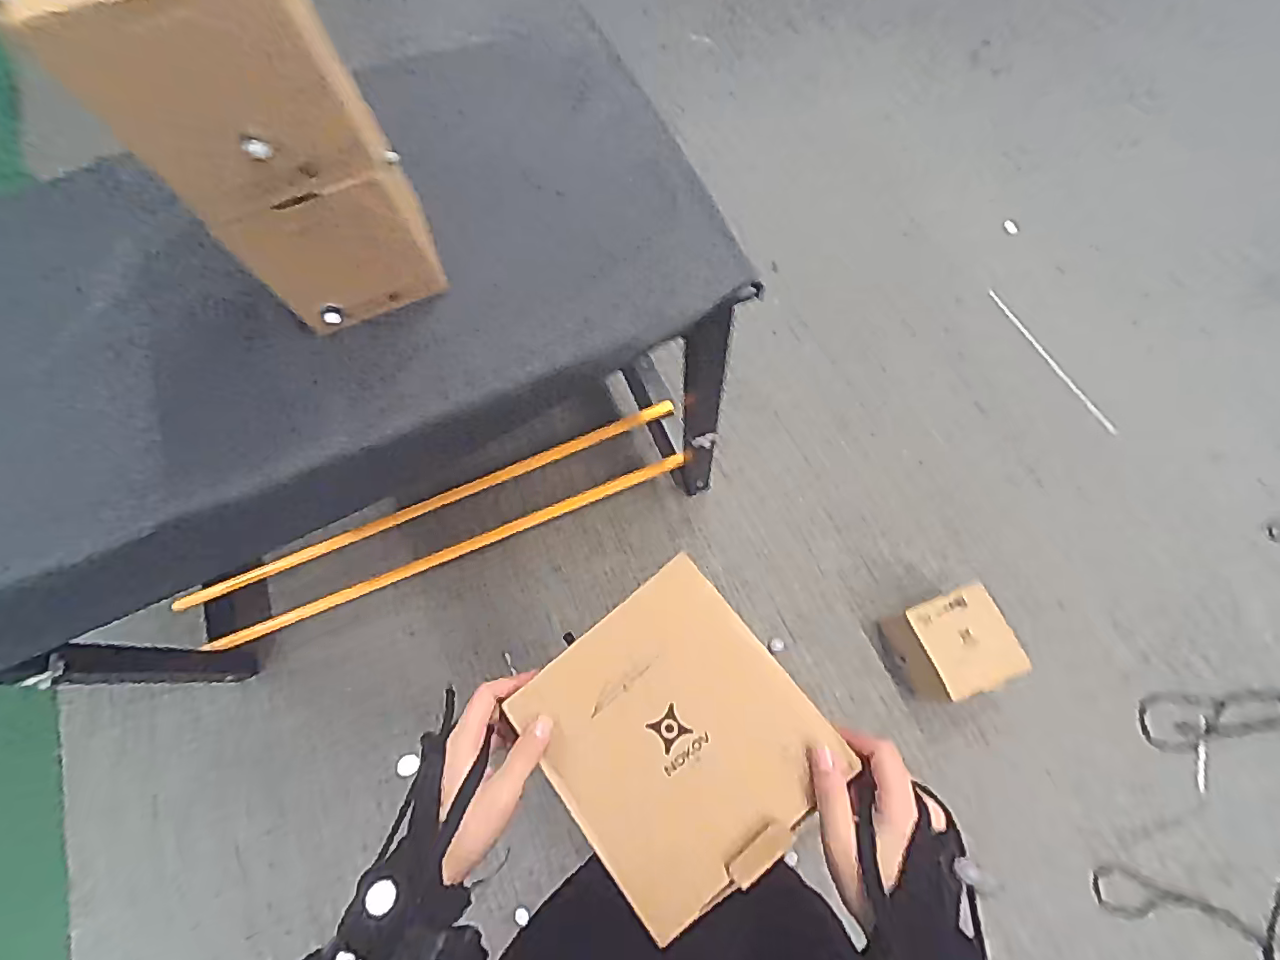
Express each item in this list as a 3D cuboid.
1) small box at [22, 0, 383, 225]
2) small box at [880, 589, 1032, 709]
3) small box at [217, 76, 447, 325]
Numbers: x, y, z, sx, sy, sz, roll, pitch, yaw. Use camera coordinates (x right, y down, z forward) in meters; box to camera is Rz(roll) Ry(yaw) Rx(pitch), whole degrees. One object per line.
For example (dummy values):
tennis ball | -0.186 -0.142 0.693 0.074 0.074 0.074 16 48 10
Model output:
small box | -0.355 -0.364 0.465 0.168 0.176 0.179 -24 70 -4
small box | 0.619 0.336 1.084 0.168 0.176 0.179 -21 71 -4
small box | -0.344 -0.303 0.618 0.168 0.176 0.179 -22 69 -4
